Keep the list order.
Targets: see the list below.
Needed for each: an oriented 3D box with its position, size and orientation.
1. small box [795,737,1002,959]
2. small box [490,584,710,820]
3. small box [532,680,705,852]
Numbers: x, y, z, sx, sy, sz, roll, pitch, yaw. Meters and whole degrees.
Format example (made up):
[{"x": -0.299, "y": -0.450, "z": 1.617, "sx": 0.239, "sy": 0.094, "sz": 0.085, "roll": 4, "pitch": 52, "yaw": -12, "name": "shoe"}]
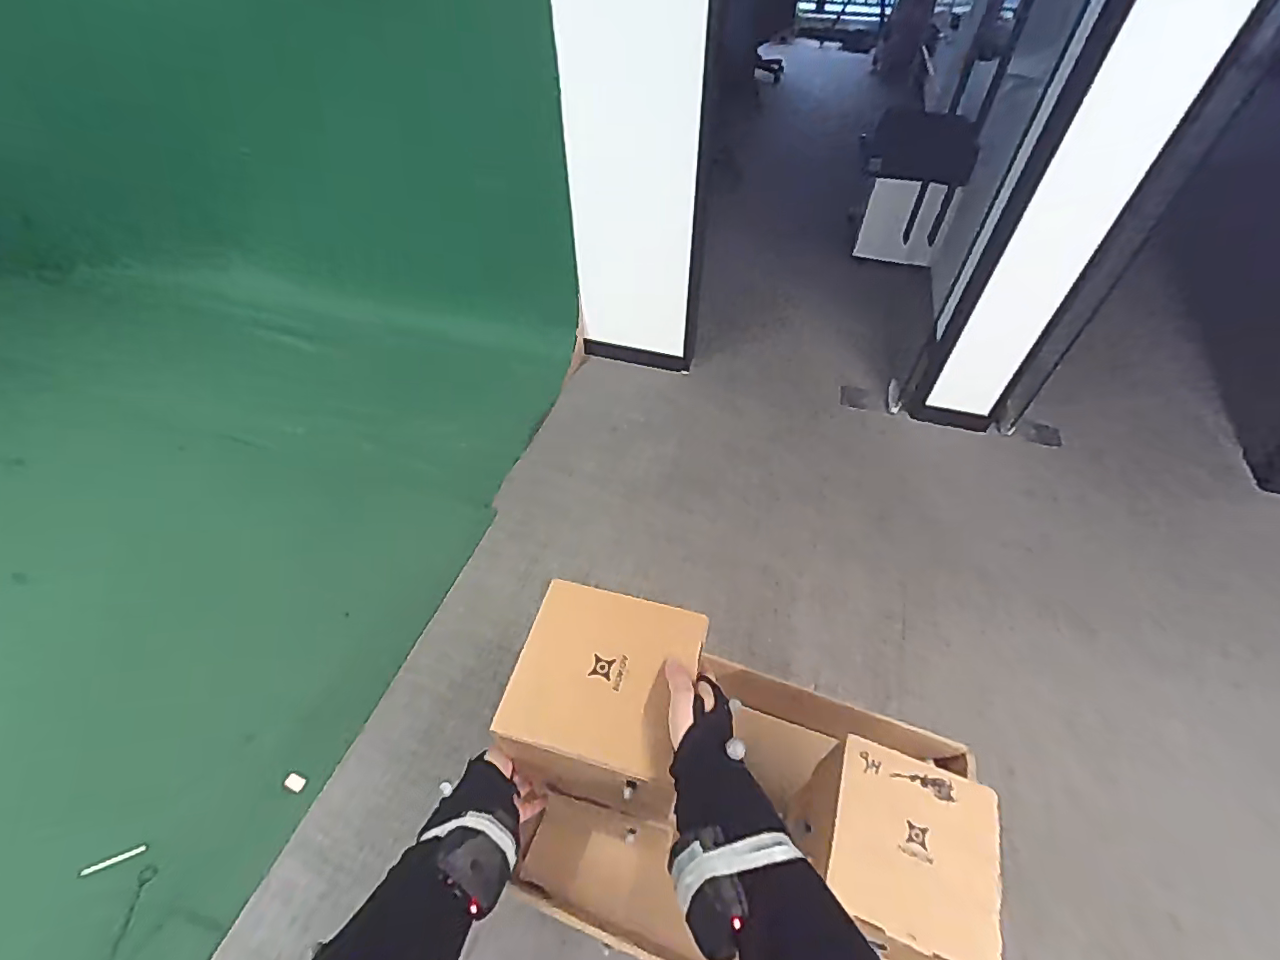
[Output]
[{"x": 0.287, "y": 0.436, "z": 0.622, "sx": 0.168, "sy": 0.176, "sz": 0.179, "roll": 18, "pitch": 52, "yaw": 14, "name": "small box"}, {"x": -0.033, "y": 0.240, "z": 0.580, "sx": 0.179, "sy": 0.176, "sz": 0.168, "roll": 12, "pitch": 49, "yaw": 9, "name": "small box"}, {"x": -0.019, "y": 0.351, "z": 0.699, "sx": 0.168, "sy": 0.176, "sz": 0.179, "roll": 13, "pitch": 50, "yaw": 10, "name": "small box"}]
